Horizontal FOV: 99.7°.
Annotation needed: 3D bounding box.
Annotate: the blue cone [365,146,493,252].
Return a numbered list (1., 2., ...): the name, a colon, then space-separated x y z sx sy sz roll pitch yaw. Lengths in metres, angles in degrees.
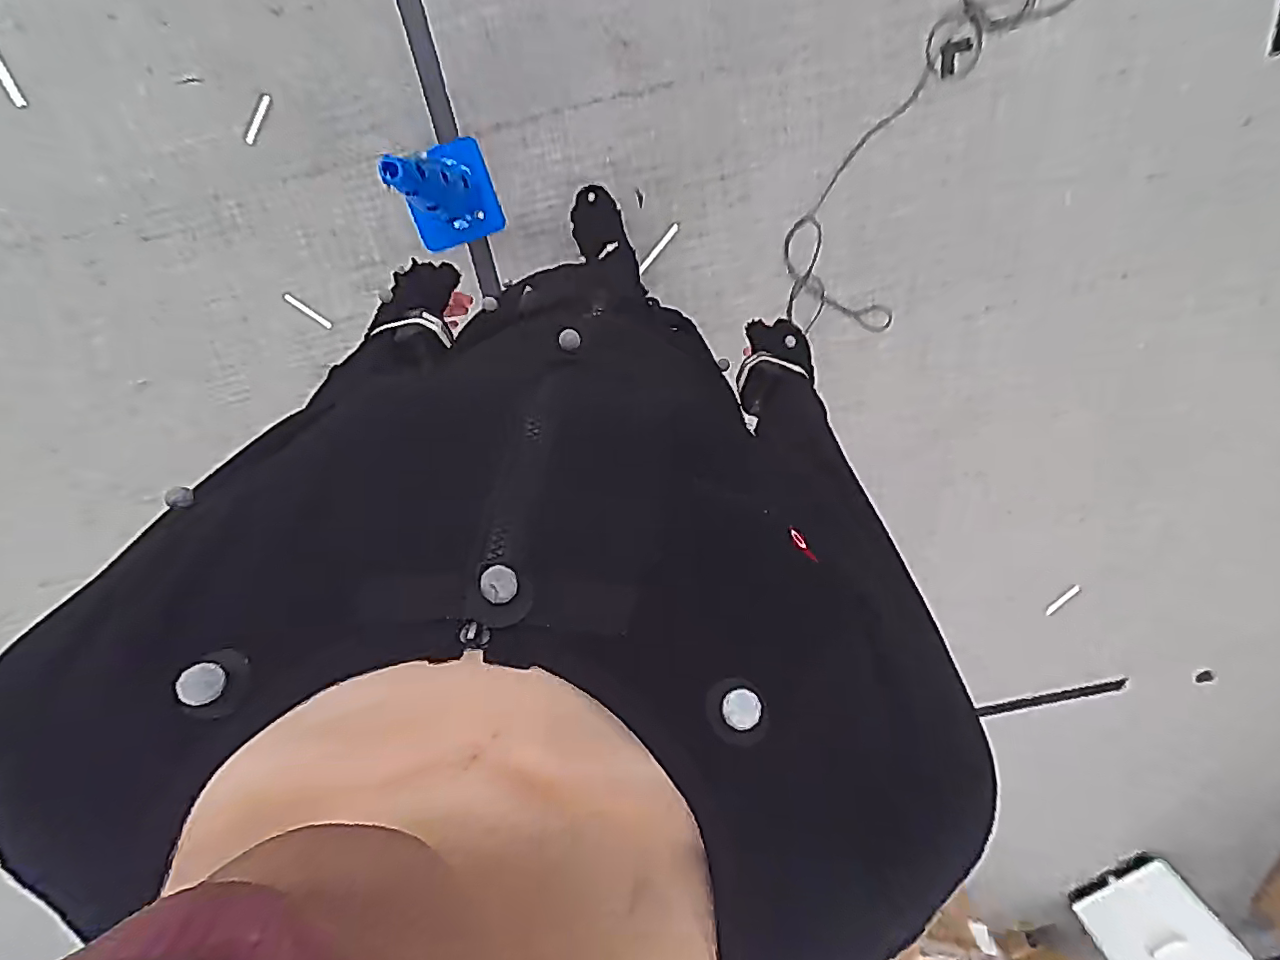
1. blue cone: -0.439 -0.580 1.078 0.192 0.380 0.193 -15 111 4
